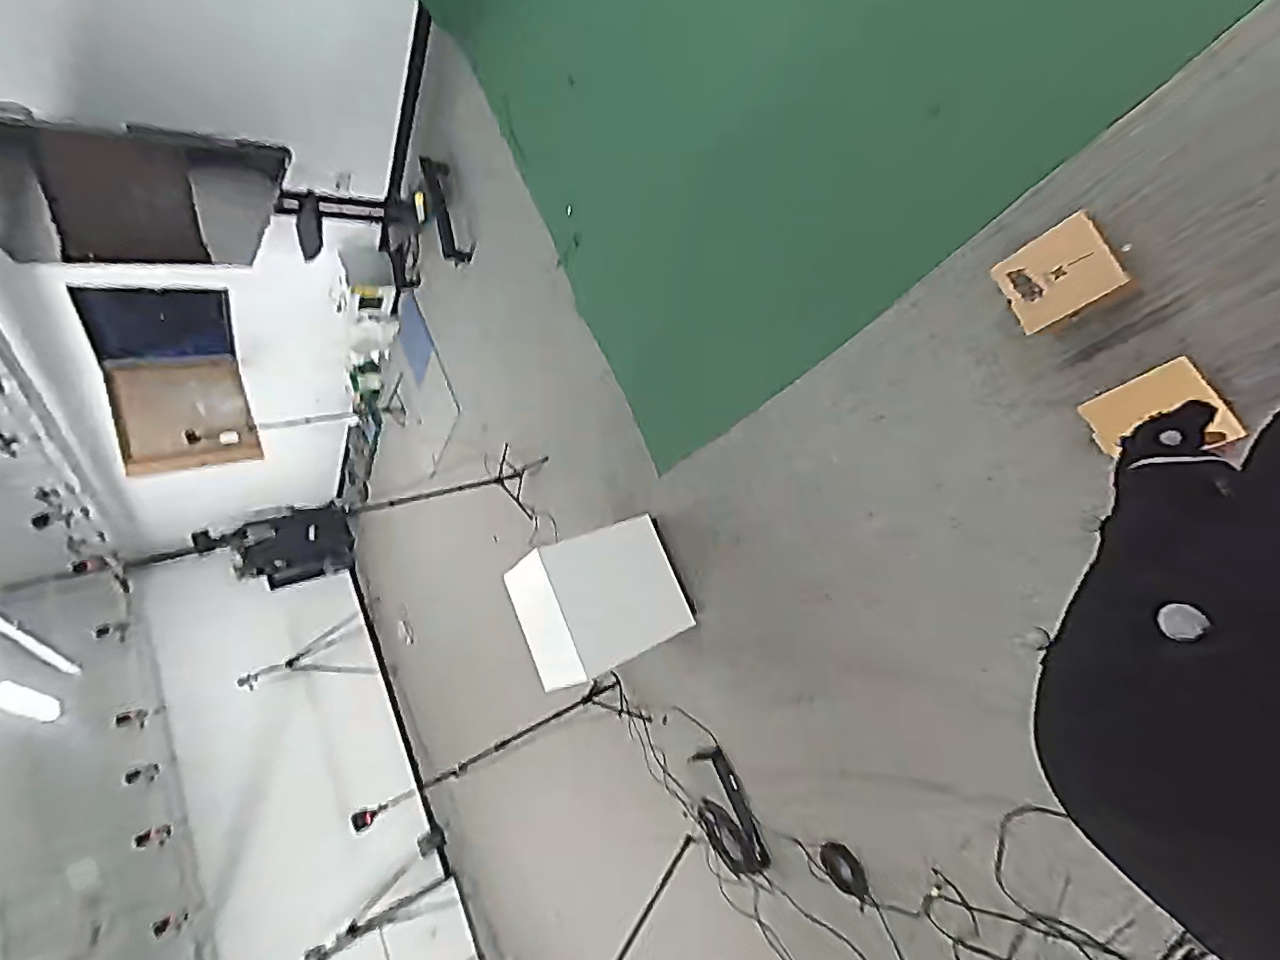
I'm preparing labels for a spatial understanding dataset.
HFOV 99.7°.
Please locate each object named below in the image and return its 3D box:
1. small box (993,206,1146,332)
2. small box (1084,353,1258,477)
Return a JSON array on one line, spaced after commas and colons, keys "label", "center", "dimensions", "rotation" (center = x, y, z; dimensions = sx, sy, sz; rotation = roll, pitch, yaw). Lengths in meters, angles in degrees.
[{"label": "small box", "center": [0.874, -0.417, 1.101], "dimensions": [0.179, 0.176, 0.168], "rotation": [-36, 72, 48]}, {"label": "small box", "center": [1.004, -0.127, 1.026], "dimensions": [0.179, 0.176, 0.168], "rotation": [-43, 67, 48]}]
